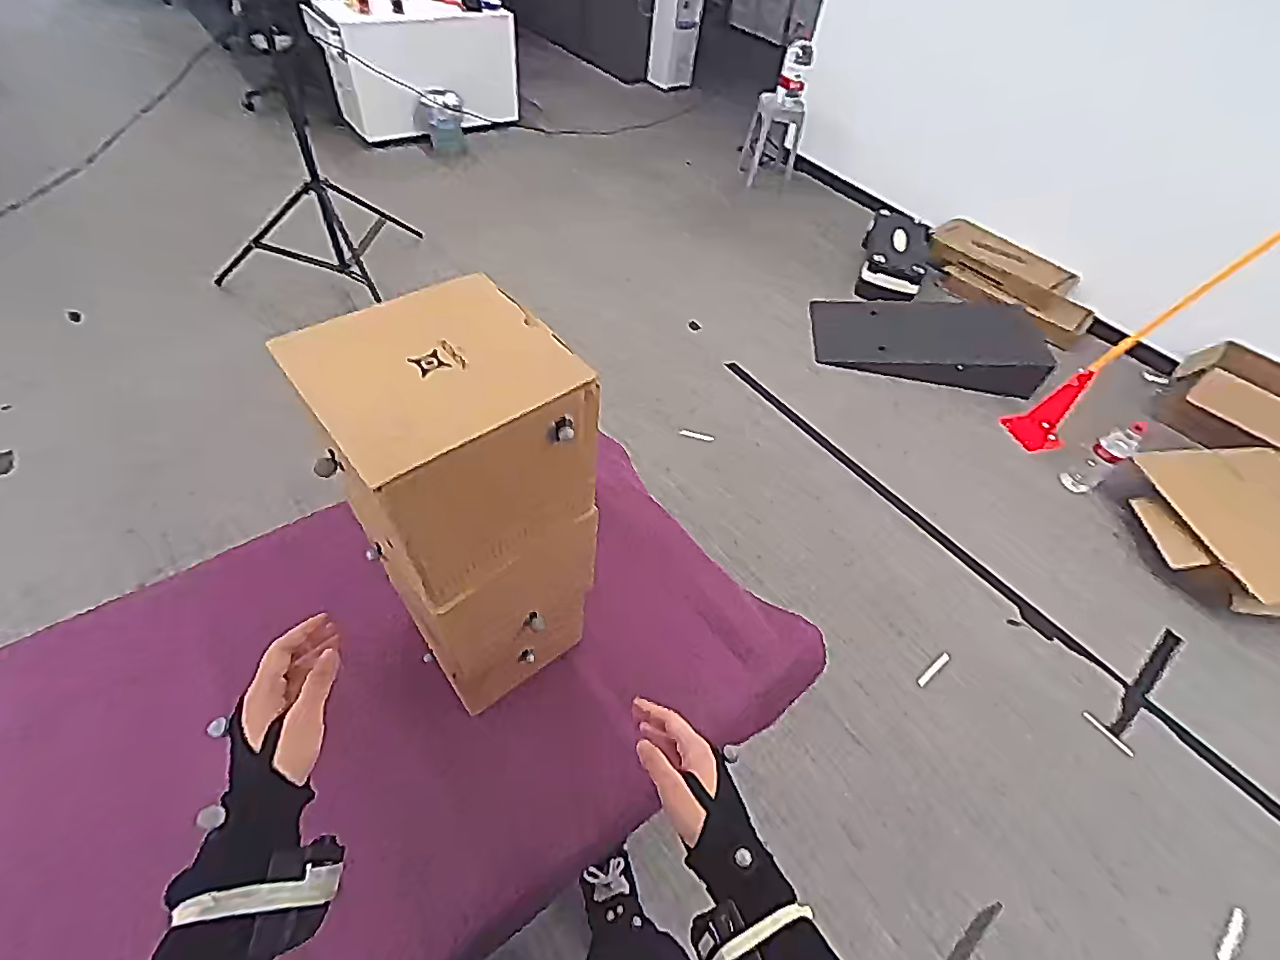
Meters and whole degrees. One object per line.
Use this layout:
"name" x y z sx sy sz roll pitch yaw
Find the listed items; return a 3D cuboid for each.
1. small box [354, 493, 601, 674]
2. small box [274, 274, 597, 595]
"small box" -0.163 0.069 0.576 0.179 0.176 0.168 -33 62 -29
"small box" -0.152 -0.036 0.453 0.179 0.176 0.168 -33 62 -29
